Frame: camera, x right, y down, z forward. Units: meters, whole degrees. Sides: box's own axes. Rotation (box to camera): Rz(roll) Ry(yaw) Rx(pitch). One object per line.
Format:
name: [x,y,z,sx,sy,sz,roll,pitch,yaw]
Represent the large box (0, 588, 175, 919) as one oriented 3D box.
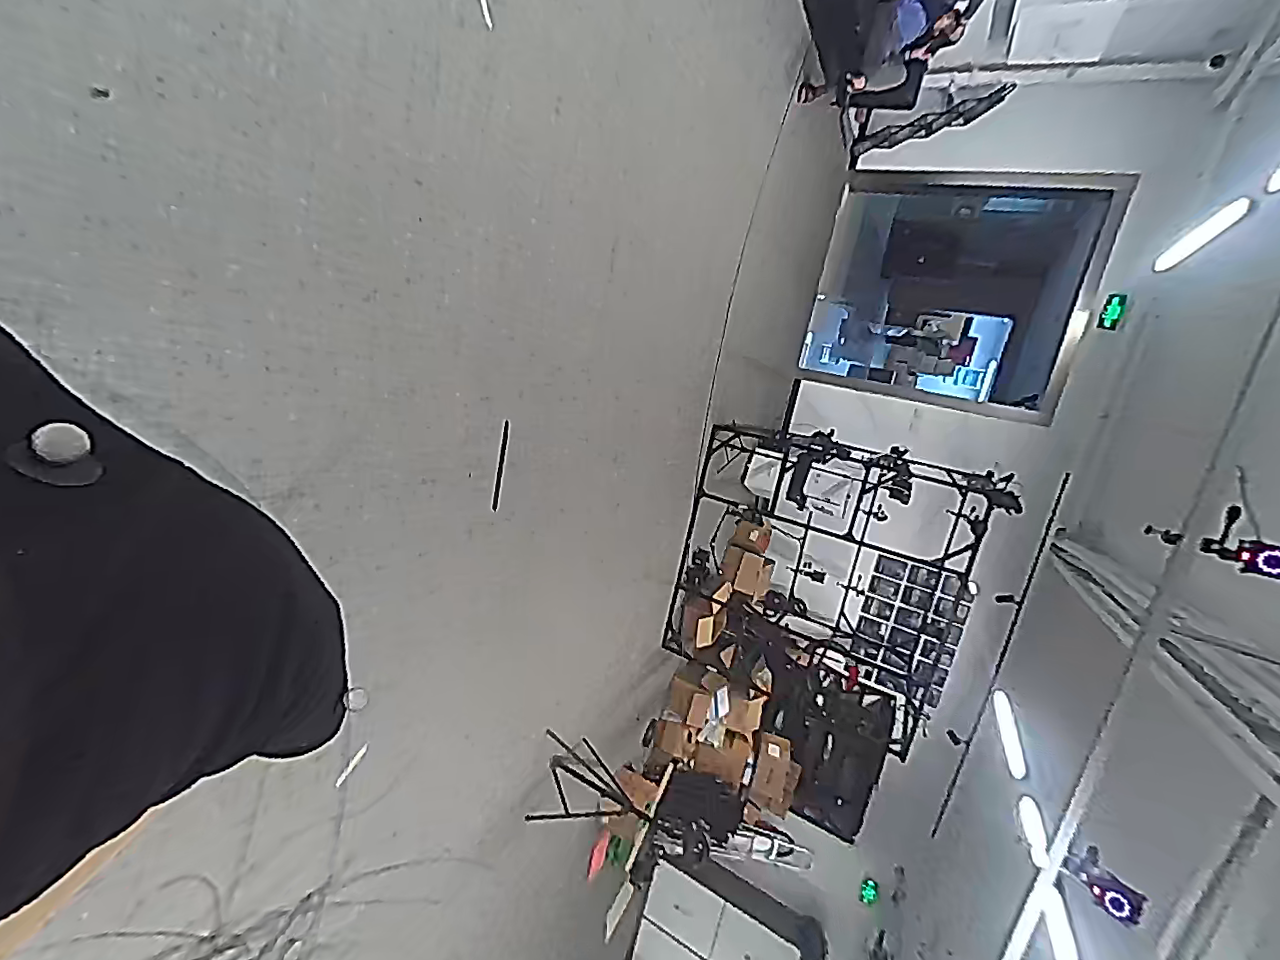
large box: [-0.712,0.261,0.395,0.408,0.320,0.320,-54,136,-49]
